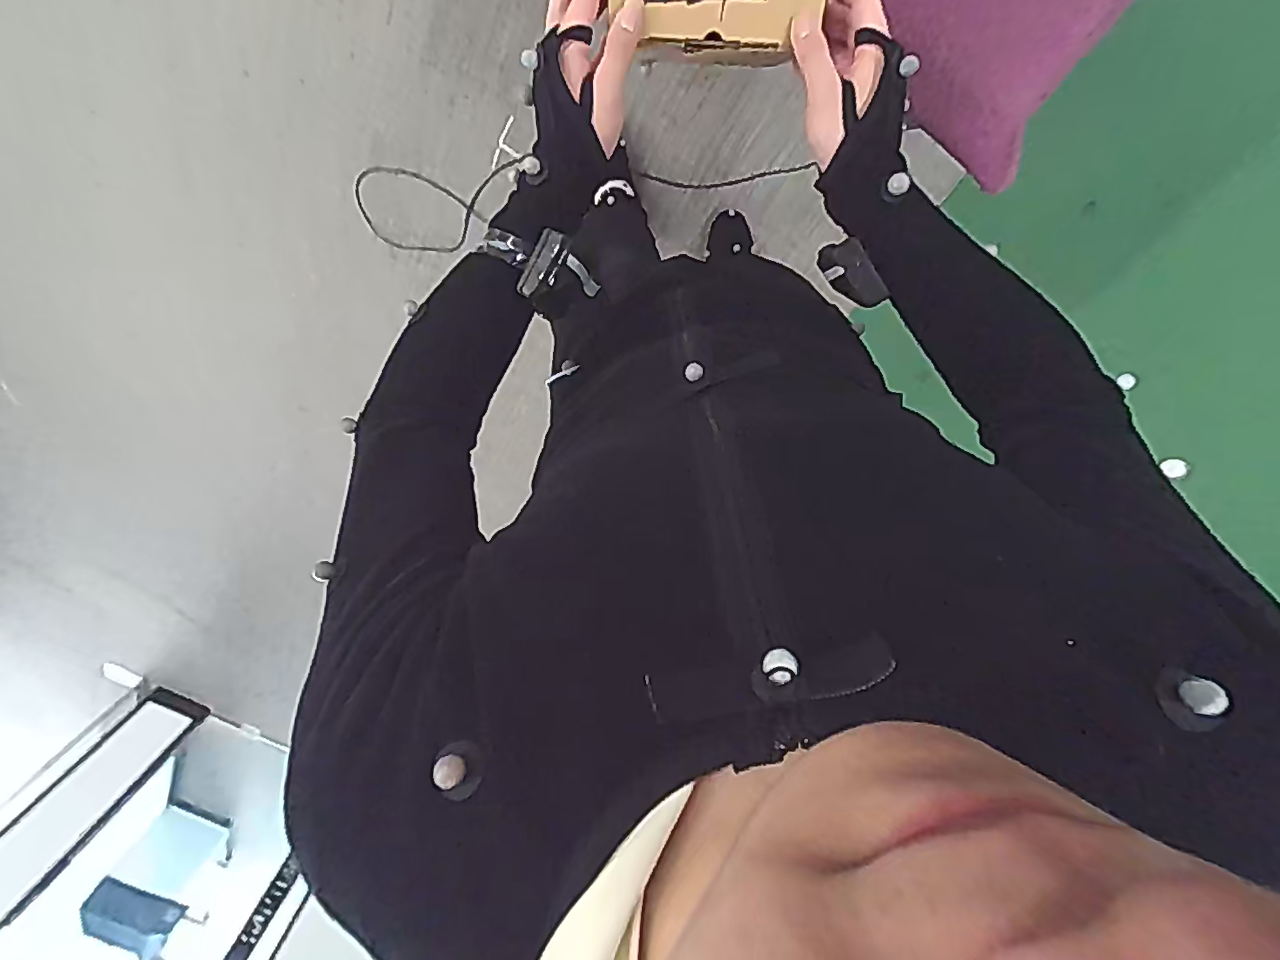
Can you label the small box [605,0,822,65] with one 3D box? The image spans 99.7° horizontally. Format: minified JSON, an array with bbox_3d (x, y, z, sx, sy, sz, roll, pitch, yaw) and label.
[{"bbox_3d":[0.060,-0.455,0.438,0.168,0.176,0.179,2,123,-2],"label":"small box"}]
